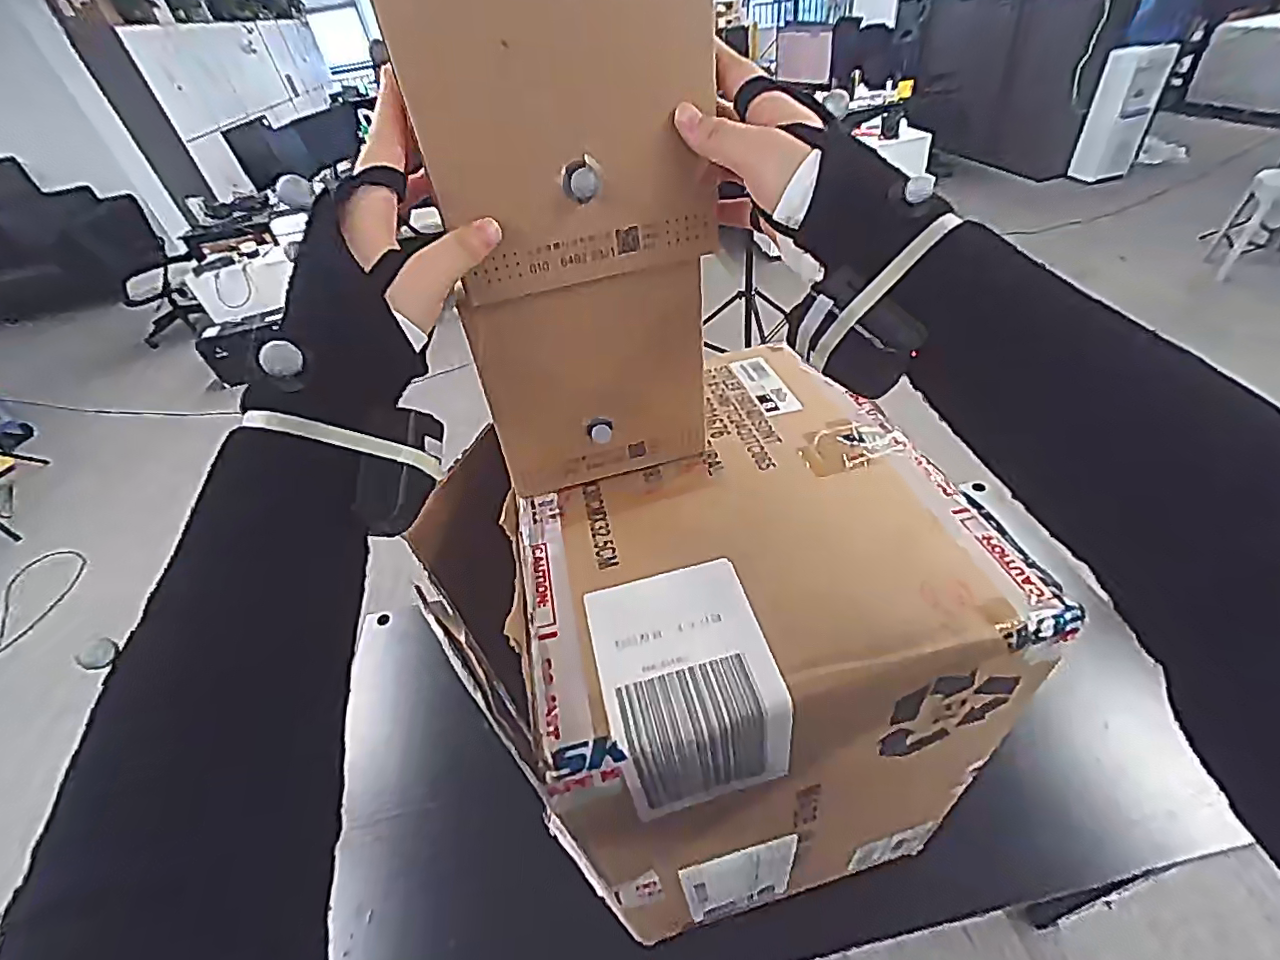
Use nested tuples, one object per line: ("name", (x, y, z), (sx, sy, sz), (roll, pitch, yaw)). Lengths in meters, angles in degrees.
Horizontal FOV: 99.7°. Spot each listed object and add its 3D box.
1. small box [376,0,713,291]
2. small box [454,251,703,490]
("small box", (-0.060, -0.242, 0.353), (0.168, 0.176, 0.179), (-16, 40, -9))
("small box", (-0.051, -0.119, 0.464), (0.168, 0.176, 0.179), (-14, 40, -7))
